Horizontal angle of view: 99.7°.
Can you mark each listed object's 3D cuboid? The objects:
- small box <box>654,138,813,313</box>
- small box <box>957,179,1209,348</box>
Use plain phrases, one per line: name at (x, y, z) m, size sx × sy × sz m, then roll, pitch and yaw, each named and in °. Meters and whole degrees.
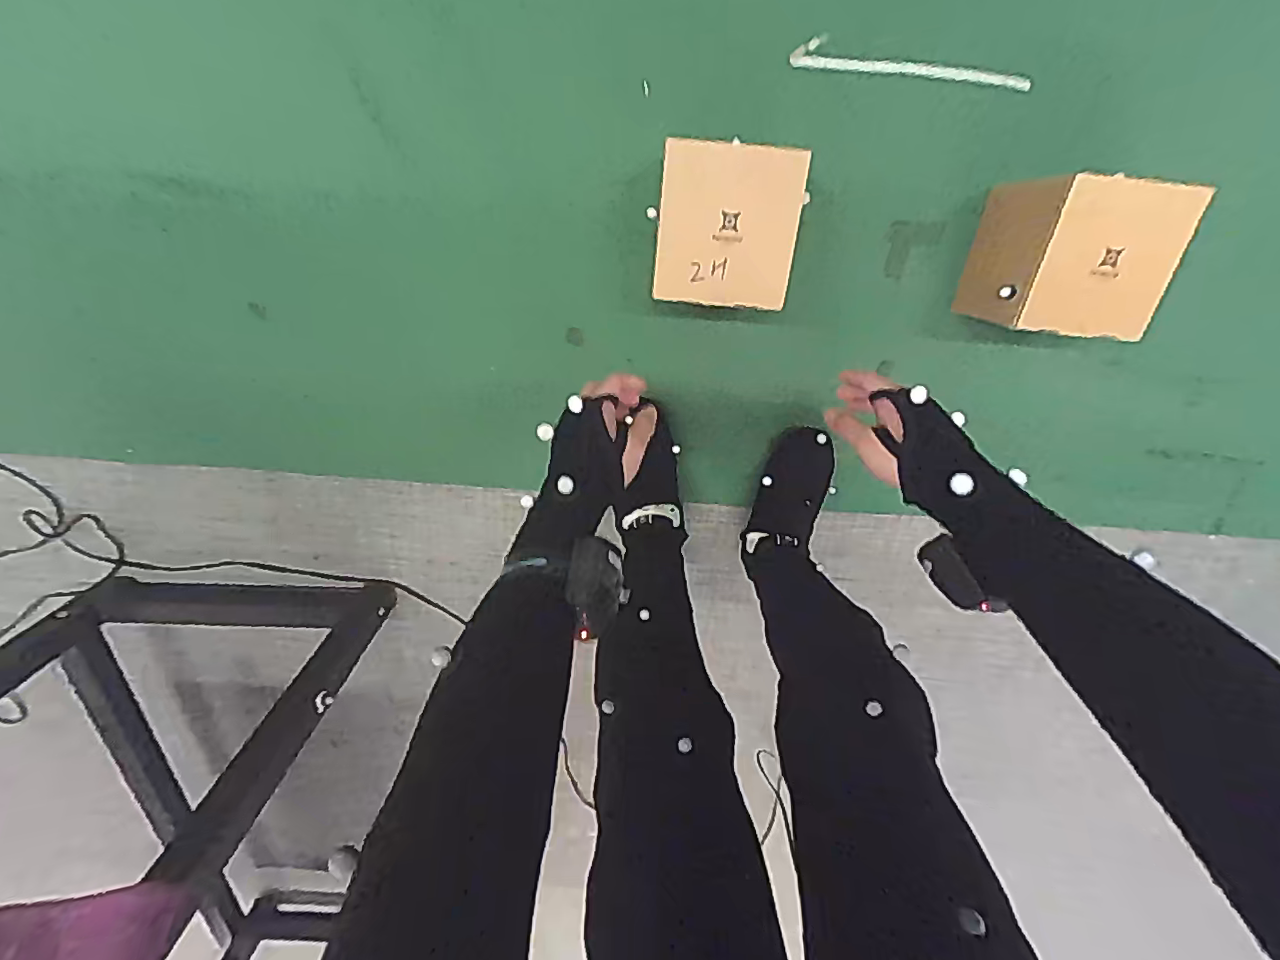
small box at (0.108, -0.328, 0.711) m, size 0.168 × 0.176 × 0.179 m, roll 6°, pitch 115°, yaw -1°
small box at (0.563, -0.289, 0.722) m, size 0.168 × 0.176 × 0.179 m, roll 6°, pitch 116°, yaw -2°
